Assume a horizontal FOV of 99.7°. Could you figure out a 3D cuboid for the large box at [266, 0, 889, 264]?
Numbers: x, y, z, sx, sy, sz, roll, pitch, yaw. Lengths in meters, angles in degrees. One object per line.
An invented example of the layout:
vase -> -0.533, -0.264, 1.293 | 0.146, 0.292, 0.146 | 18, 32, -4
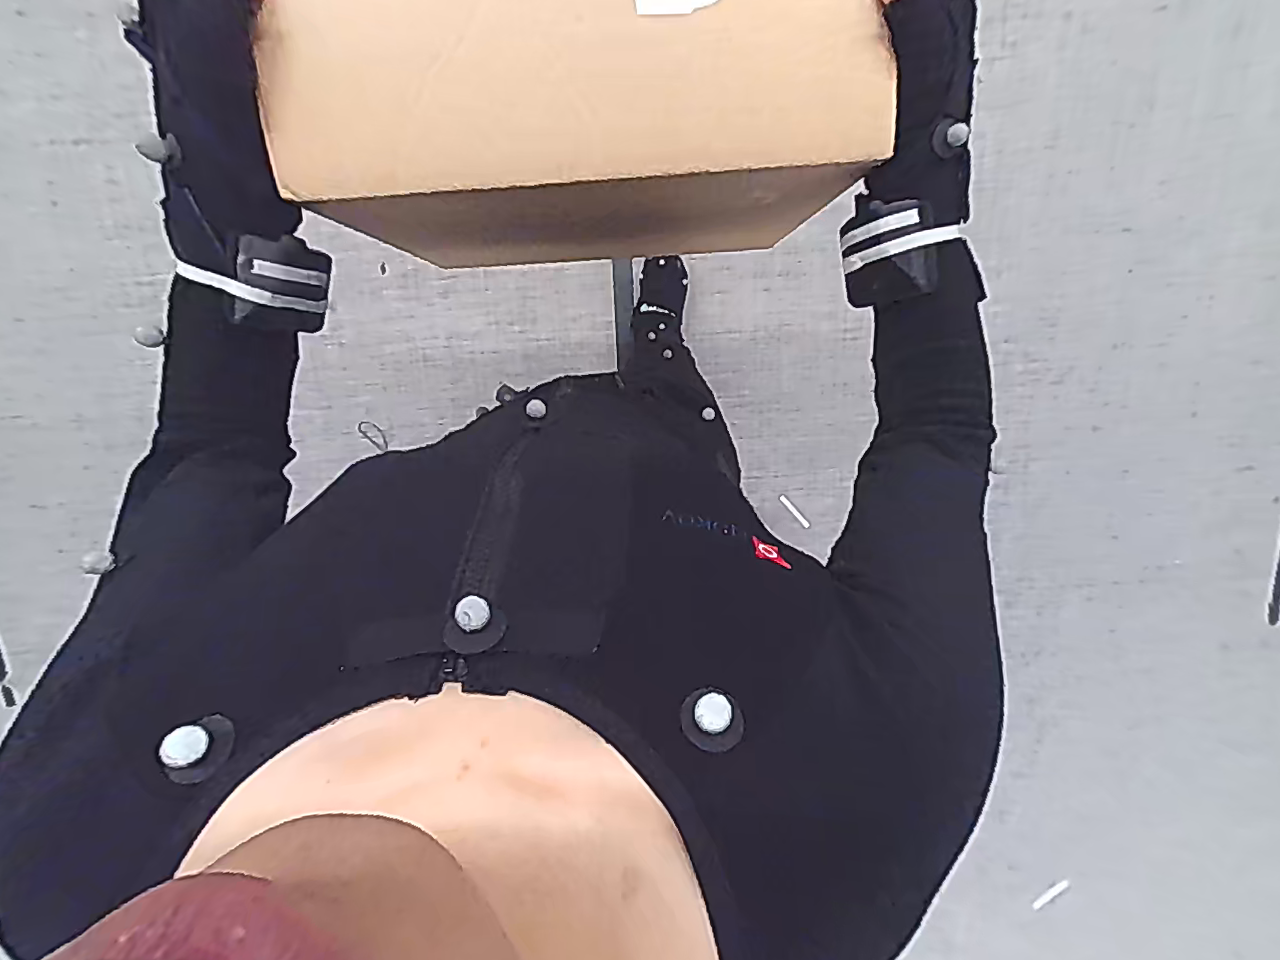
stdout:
large box -> -0.047, -0.395, 0.478 | 0.408, 0.320, 0.320 | -4, 103, 0
